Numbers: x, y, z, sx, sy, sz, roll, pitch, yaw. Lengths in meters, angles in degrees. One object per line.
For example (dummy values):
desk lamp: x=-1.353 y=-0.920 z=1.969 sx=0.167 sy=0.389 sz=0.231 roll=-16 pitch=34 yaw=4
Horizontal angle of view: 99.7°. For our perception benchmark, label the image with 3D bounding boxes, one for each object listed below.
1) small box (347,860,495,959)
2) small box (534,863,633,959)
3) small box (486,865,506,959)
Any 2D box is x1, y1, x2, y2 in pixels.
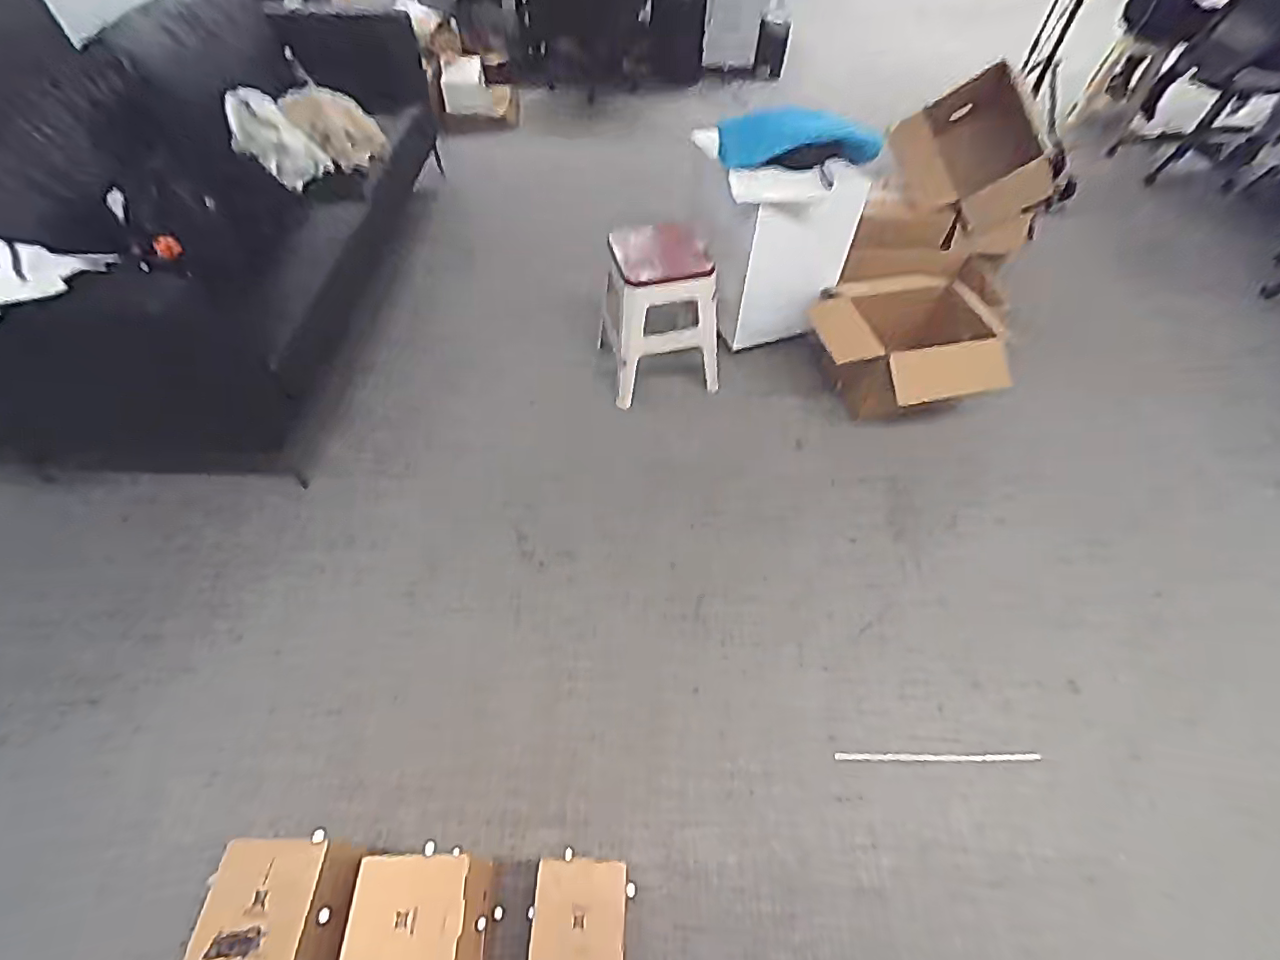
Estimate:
small box: x=-0.350 y=0.731 z=0.886 sx=0.179 sy=0.176 sz=0.168 roll=-1 pitch=53 yaw=-2
small box: x=-0.099 y=0.835 z=1.016 sx=0.168 sy=0.176 sz=0.179 roll=1 pitch=53 yaw=1
small box: x=-0.356 y=0.834 z=1.012 sx=0.168 sy=0.176 sz=0.179 roll=-2 pitch=52 yaw=0
